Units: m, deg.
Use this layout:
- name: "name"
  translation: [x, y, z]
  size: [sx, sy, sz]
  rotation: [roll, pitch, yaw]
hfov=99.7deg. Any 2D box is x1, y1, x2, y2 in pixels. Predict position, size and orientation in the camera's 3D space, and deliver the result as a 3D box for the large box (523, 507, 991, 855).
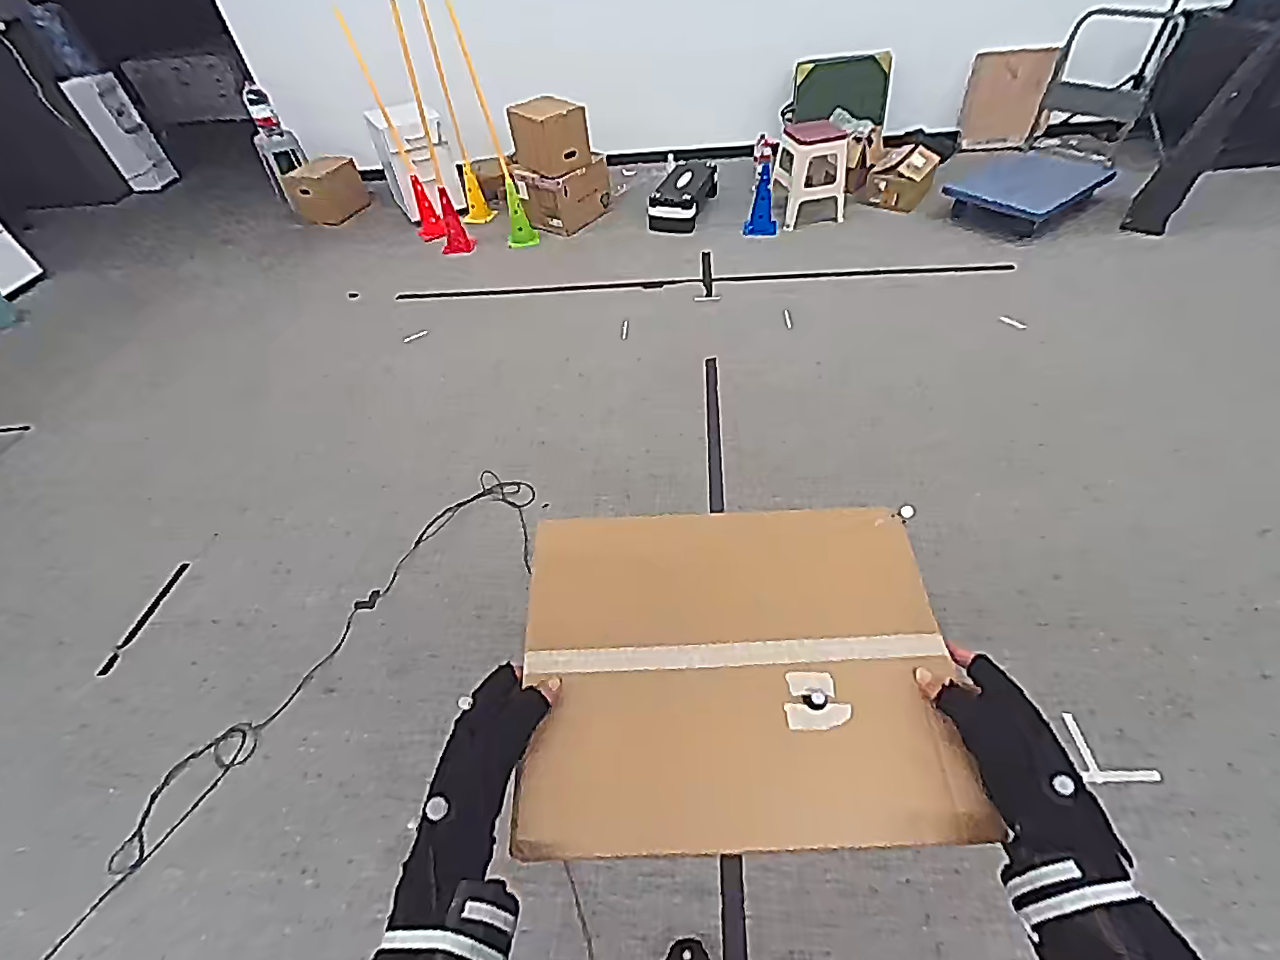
- name: "large box"
  translation: [0.092, 0.250, 0.653]
  size: [0.408, 0.320, 0.320]
  rotation: [-2, 57, -1]
